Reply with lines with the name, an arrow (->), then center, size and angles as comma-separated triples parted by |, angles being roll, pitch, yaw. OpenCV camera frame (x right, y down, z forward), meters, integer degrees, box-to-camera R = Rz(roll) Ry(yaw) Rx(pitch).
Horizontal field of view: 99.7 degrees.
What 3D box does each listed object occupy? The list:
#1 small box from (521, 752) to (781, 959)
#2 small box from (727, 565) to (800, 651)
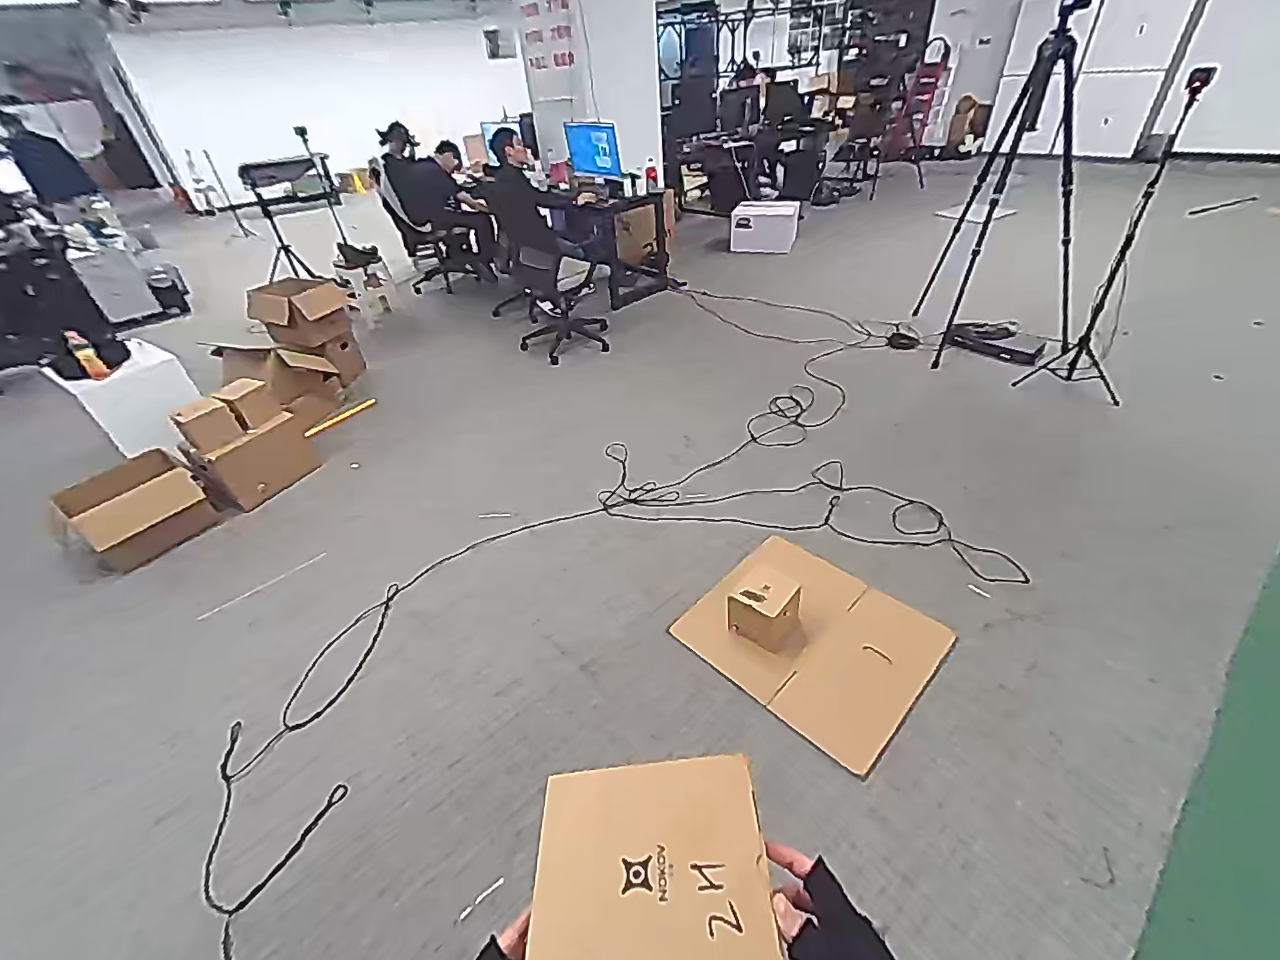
small box -> 0.018, 0.352, 0.436 | 0.179, 0.176, 0.168 | -9, 33, 5
small box -> 0.398, 0.413, 1.738 | 0.168, 0.176, 0.179 | 24, 46, 35
